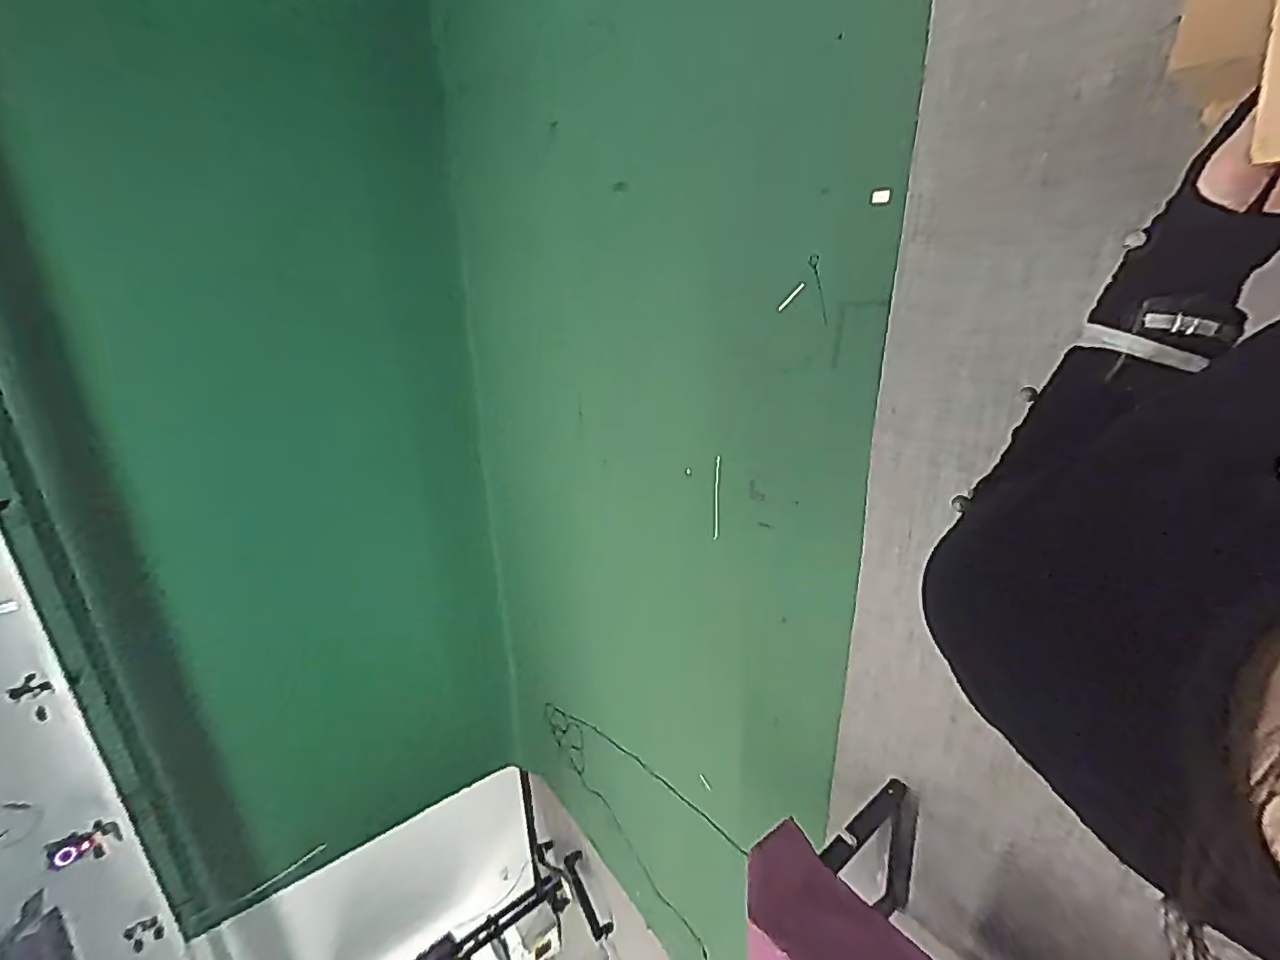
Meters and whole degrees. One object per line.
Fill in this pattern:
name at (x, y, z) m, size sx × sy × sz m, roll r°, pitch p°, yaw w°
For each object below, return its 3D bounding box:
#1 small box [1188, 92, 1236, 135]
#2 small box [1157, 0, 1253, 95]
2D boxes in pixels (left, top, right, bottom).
small box at (0.724, -0.477, 0.561) m, size 0.168 × 0.176 × 0.179 m, roll 23°, pitch 120°, yaw 47°
small box at (0.595, -0.453, 0.461) m, size 0.168 × 0.176 × 0.179 m, roll 25°, pitch 122°, yaw 45°
